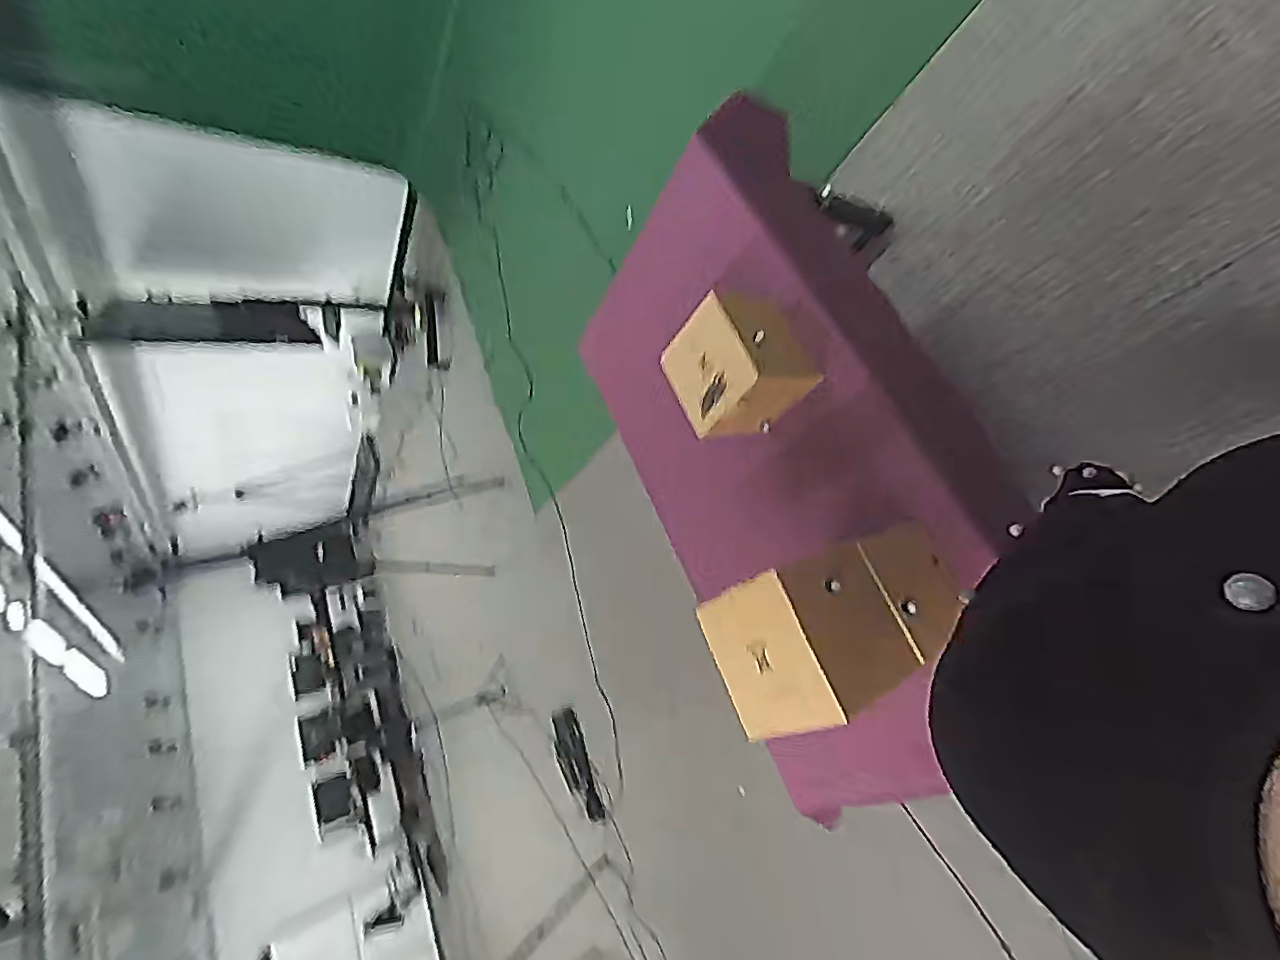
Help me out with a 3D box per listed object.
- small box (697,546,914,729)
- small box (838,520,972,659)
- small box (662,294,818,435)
[{"bbox_3d":[0.212,0.197,0.705,0.168,0.176,0.179,-44,63,48],"label":"small box"},{"bbox_3d":[0.342,0.177,0.803,0.179,0.176,0.168,-46,62,48],"label":"small box"},{"bbox_3d":[0.174,-0.200,0.945,0.168,0.176,0.179,-46,61,47],"label":"small box"}]
